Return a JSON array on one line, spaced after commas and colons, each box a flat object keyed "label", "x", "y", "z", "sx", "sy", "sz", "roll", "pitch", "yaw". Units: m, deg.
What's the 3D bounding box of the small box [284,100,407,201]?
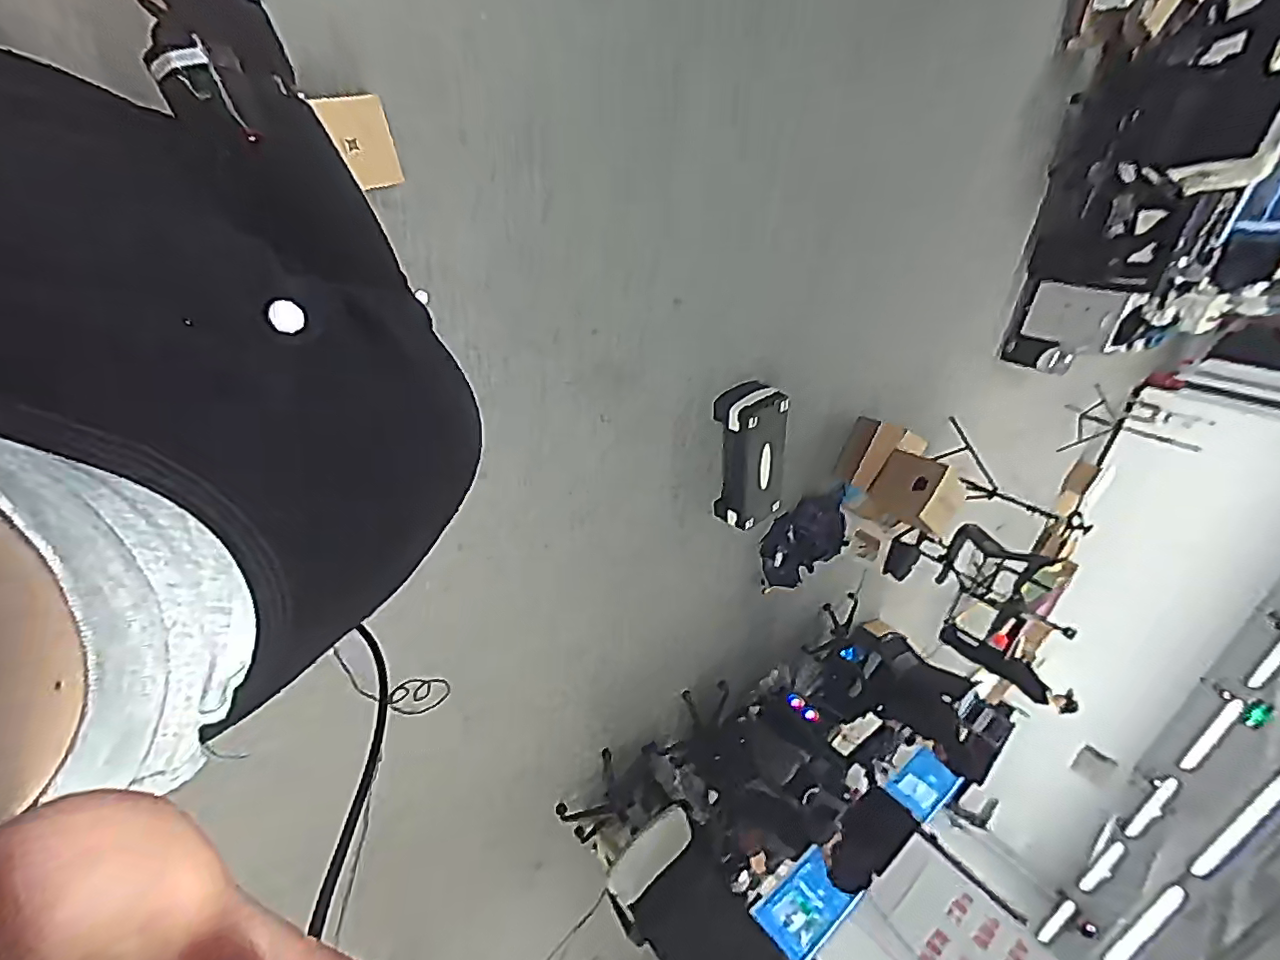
[{"label": "small box", "x": -0.639, "y": -0.709, "z": 1.167, "sx": 0.179, "sy": 0.176, "sz": 0.168, "roll": -29, "pitch": 132, "yaw": -28}]
